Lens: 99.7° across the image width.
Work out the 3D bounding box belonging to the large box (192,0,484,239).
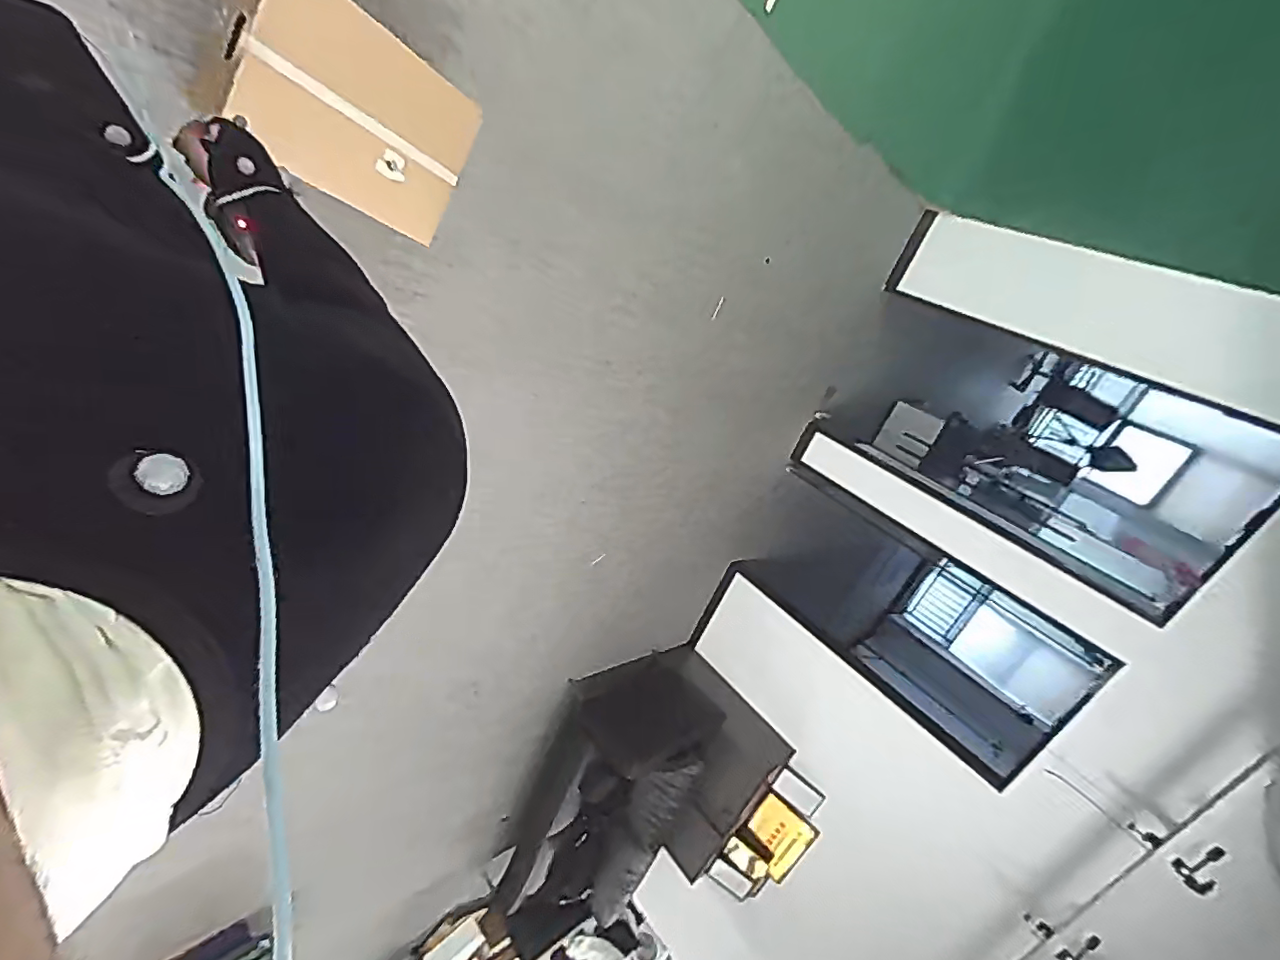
[{"bbox_3d":[-0.620,-0.774,1.123,0.408,0.320,0.320,13,112,-52],"label":"large box"}]
